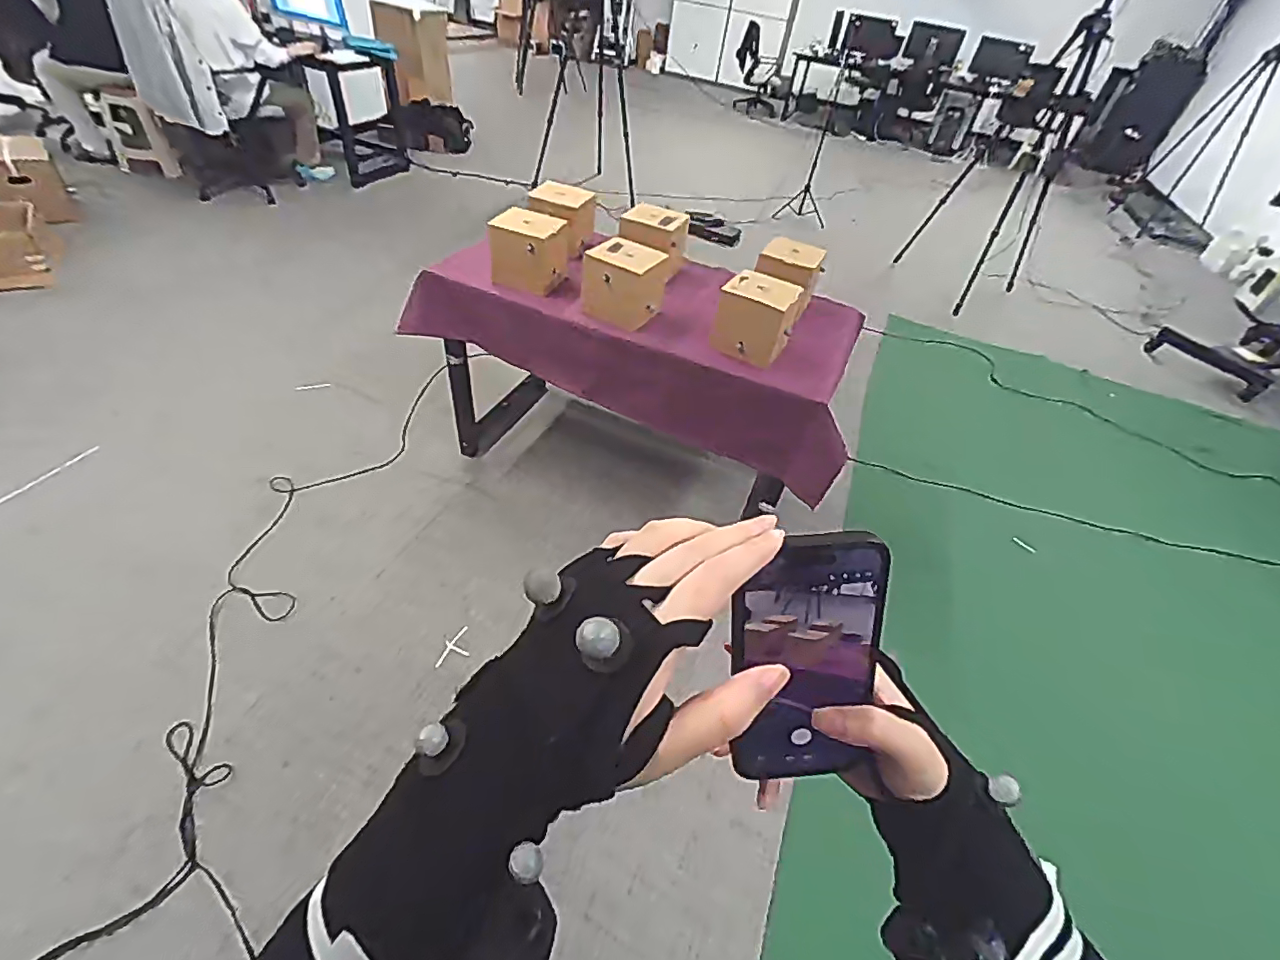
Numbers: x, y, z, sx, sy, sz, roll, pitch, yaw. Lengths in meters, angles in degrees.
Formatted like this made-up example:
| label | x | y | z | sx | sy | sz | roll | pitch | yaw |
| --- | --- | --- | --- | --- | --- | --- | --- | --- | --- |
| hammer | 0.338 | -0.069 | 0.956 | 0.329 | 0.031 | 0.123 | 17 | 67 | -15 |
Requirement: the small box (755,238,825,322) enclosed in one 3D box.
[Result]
| label | x | y | z | sx | sy | sz | roll | pitch | yaw |
| --- | --- | --- | --- | --- | --- | --- | --- | --- | --- |
| small box | 0.445 | -0.612 | 1.659 | 0.168 | 0.176 | 0.179 | 24 | 46 | 15 |

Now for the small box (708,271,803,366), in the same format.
| label | x | y | z | sx | sy | sz | roll | pitch | yaw |
| --- | --- | --- | --- | --- | --- | --- | --- | --- | --- |
| small box | 0.306 | -0.427 | 1.446 | 0.179 | 0.176 | 0.168 | 27 | 46 | 17 |

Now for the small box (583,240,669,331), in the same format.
| label | x | y | z | sx | sy | sz | roll | pitch | yaw |
| --- | --- | --- | --- | --- | --- | --- | --- | --- | --- |
| small box | -0.044 | -0.538 | 1.499 | 0.179 | 0.176 | 0.168 | 26 | 46 | 15 |

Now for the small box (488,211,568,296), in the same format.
| label | x | y | z | sx | sy | sz | roll | pitch | yaw |
| --- | --- | --- | --- | --- | --- | --- | --- | --- | --- |
| small box | -0.324 | -0.658 | 1.575 | 0.179 | 0.176 | 0.168 | 18 | 44 | 7 |
